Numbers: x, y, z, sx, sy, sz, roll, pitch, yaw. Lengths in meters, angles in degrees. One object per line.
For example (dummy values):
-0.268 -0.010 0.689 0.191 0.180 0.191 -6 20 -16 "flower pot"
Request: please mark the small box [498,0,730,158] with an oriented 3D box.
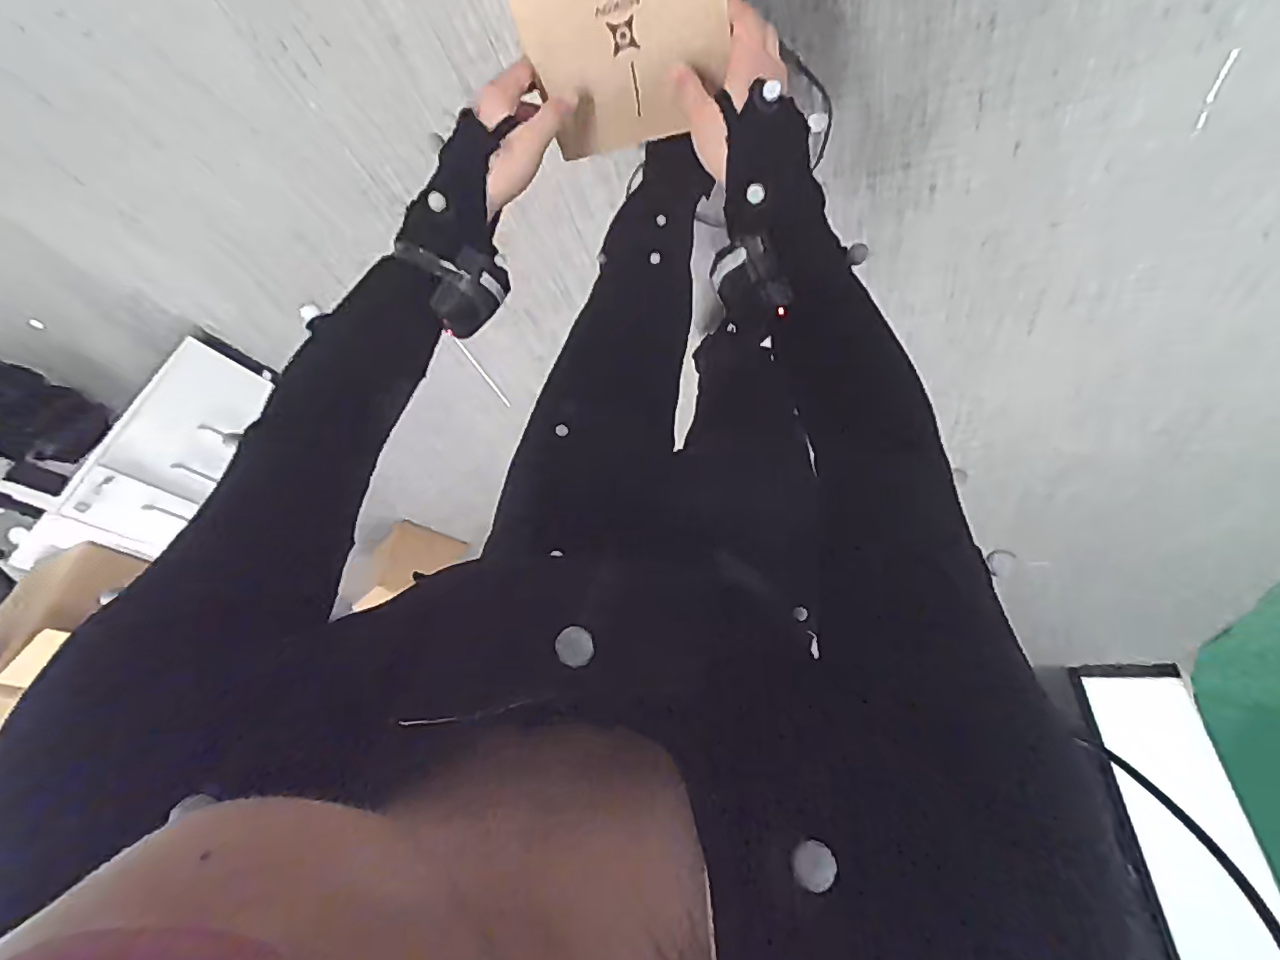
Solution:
-0.017 -0.417 0.459 0.168 0.176 0.179 -5 142 14 "small box"
